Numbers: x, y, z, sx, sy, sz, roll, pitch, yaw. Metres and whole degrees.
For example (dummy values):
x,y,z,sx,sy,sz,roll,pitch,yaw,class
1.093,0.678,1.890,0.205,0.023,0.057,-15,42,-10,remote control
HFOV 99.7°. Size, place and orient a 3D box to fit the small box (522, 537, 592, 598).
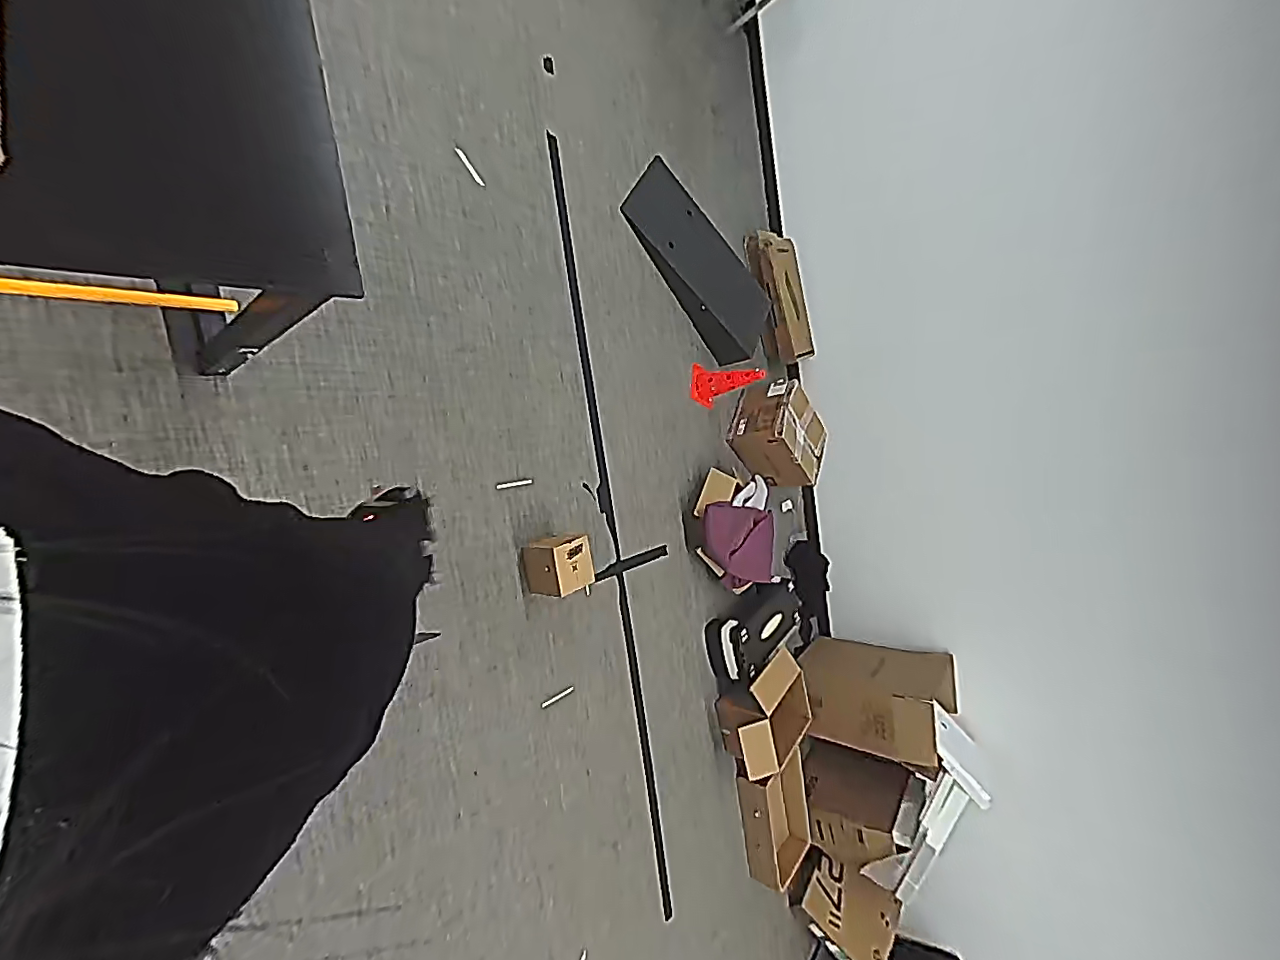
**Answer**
x,y,z,sx,sy,sz,roll,pitch,yaw,class
-0.296,0.304,1.906,0.168,0.176,0.179,-17,100,-49,small box
